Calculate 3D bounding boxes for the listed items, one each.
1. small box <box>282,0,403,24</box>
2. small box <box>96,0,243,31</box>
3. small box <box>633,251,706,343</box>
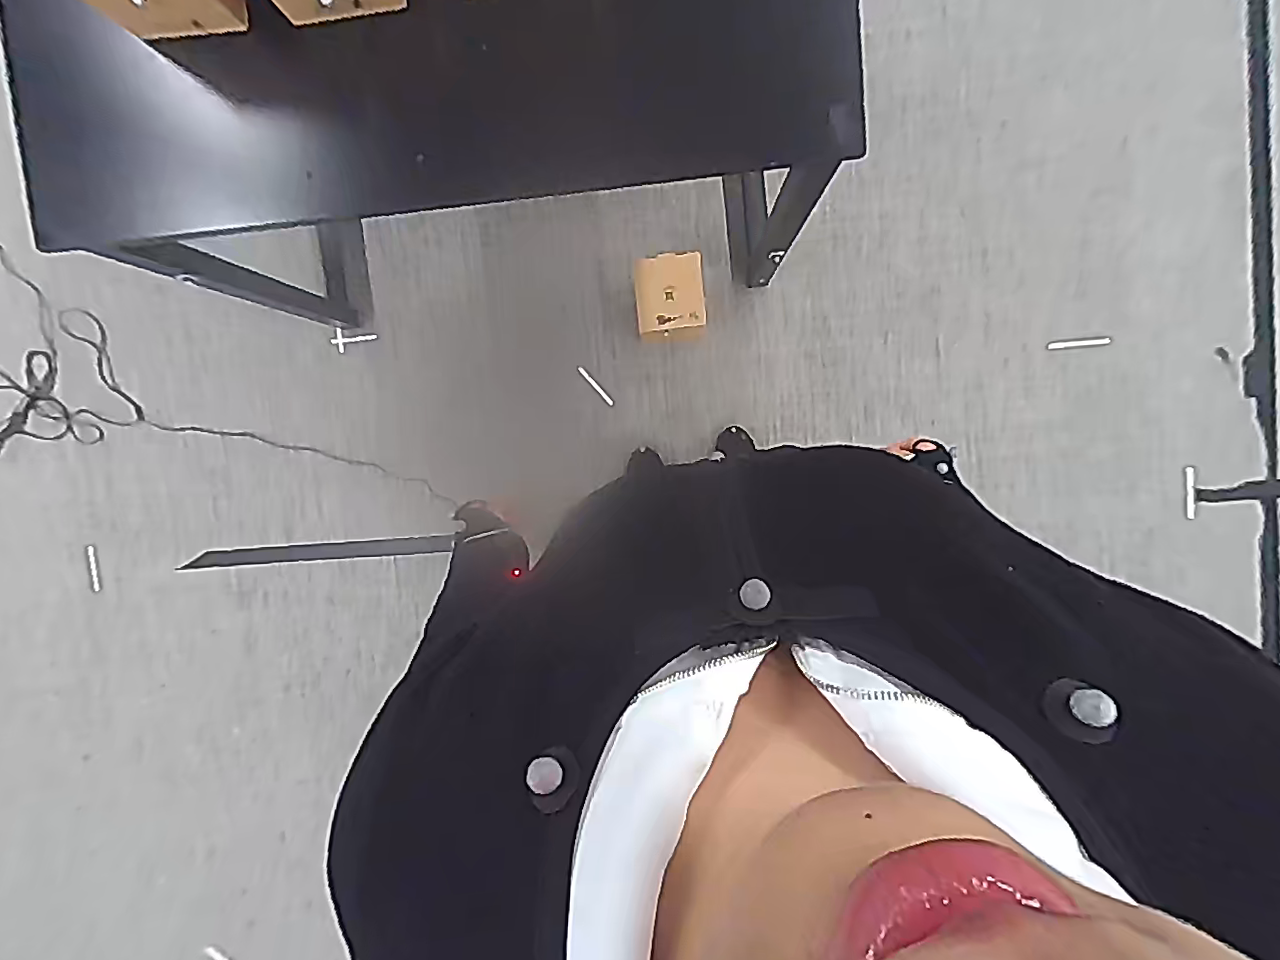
[{"bbox_3d":[-0.414,-0.718,0.660,0.168,0.176,0.179,-6,96,4],"label":"small box"},{"bbox_3d":[-0.637,-0.707,0.676,0.168,0.176,0.179,-2,95,3],"label":"small box"},{"bbox_3d":[0.075,-0.461,1.383,0.168,0.176,0.179,-6,94,5],"label":"small box"}]
